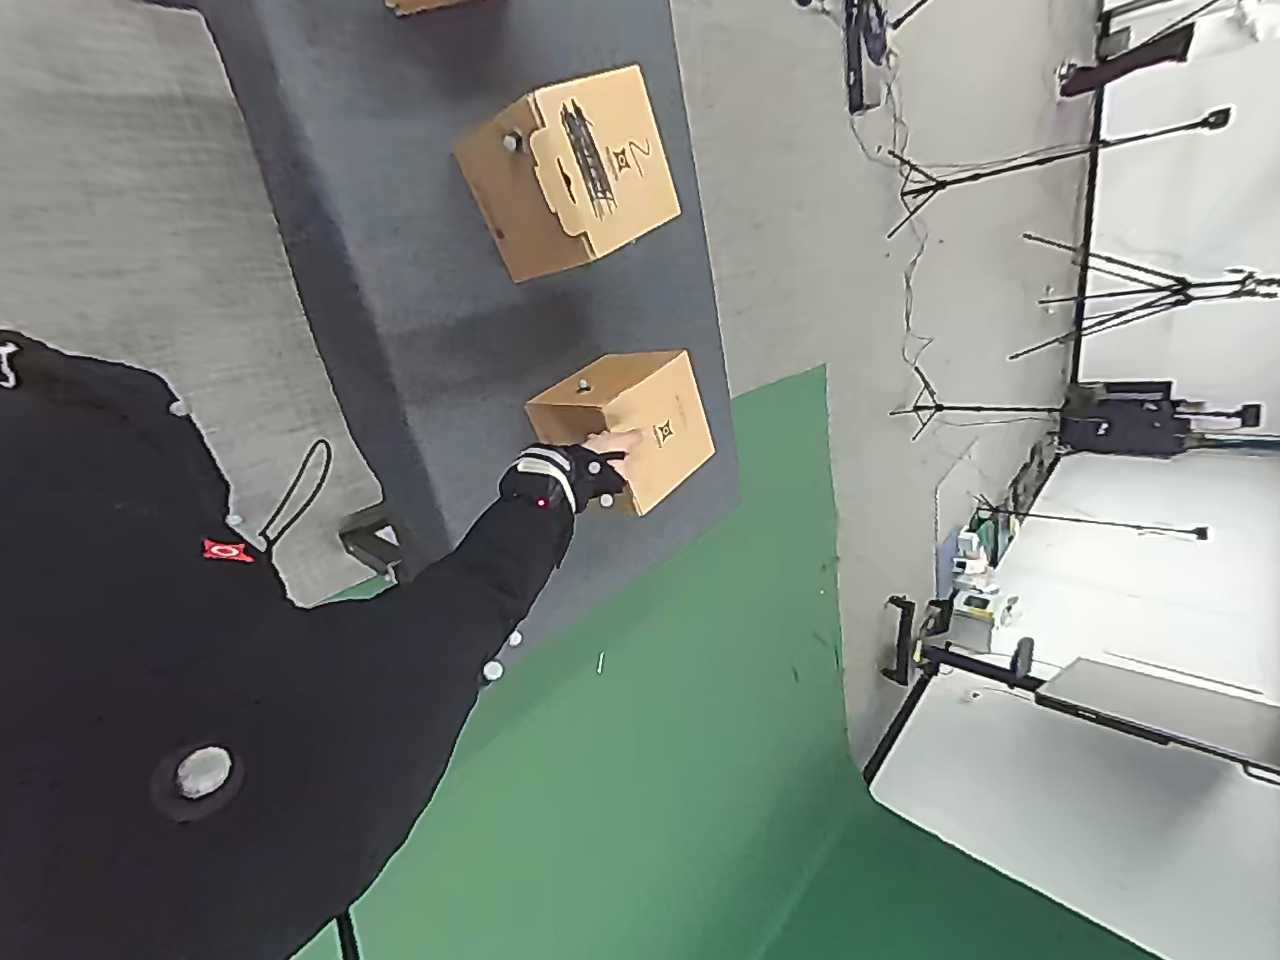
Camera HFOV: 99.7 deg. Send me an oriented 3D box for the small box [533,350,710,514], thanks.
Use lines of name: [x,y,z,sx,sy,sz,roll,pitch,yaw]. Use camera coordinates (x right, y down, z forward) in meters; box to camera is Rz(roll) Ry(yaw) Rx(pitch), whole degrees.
small box: [-0.031,-0.075,0.780,0.179,0.176,0.168,-41,125,-34]

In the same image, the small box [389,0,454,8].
small box: [-0.185,-0.606,0.526,0.179,0.176,0.168,-44,126,-30]
